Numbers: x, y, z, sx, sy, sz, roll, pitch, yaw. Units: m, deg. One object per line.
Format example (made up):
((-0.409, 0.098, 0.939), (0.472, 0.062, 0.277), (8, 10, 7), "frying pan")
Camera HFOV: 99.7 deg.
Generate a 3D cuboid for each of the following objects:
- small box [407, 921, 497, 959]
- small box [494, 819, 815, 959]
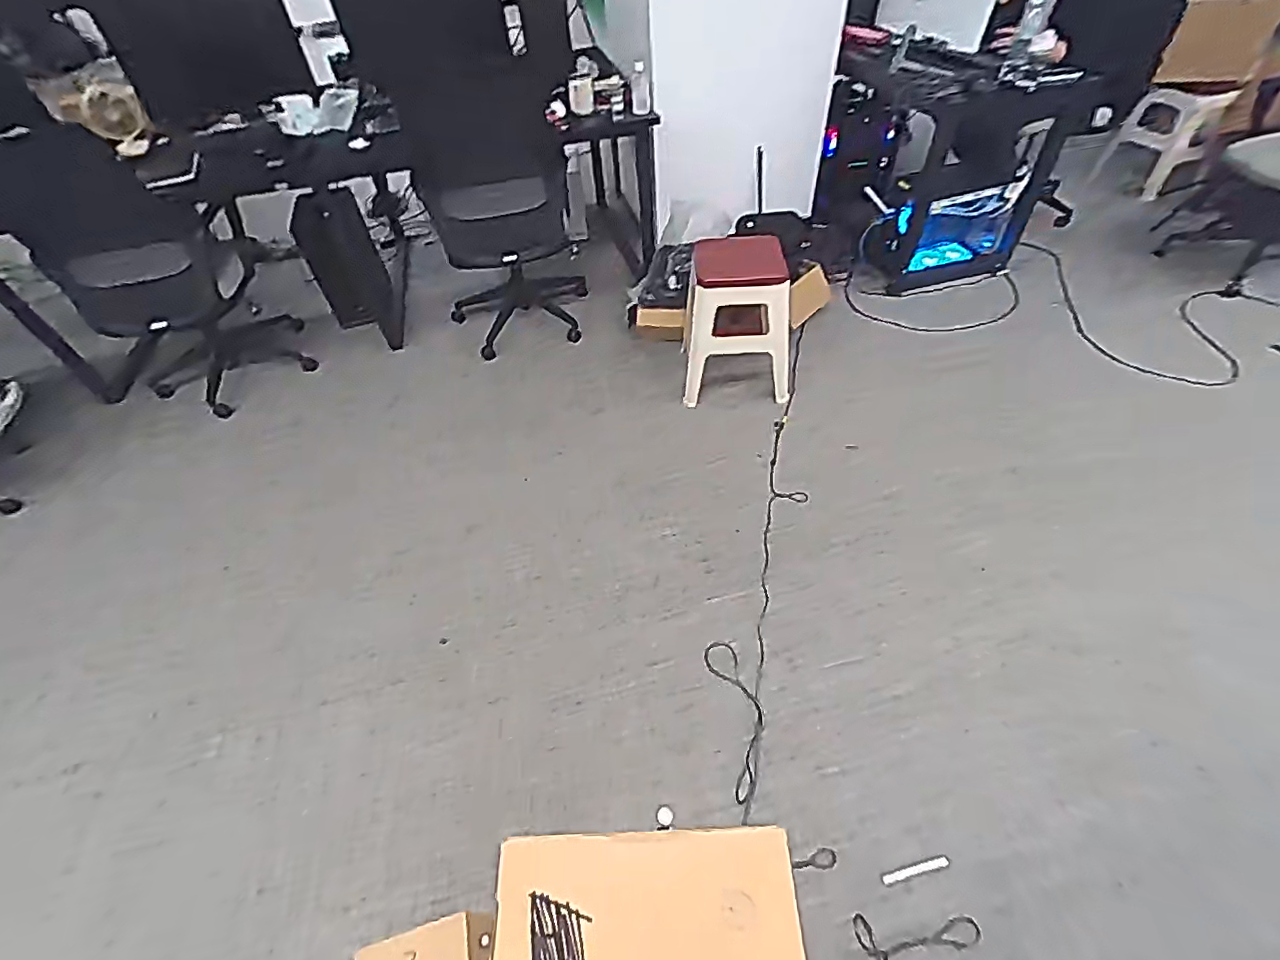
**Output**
((-0.295, 0.898, 0.922), (0.168, 0.176, 0.179), (-19, 50, -11), "small box")
((0.018, 0.317, 0.341), (0.179, 0.176, 0.168), (-6, 56, 6), "small box")
